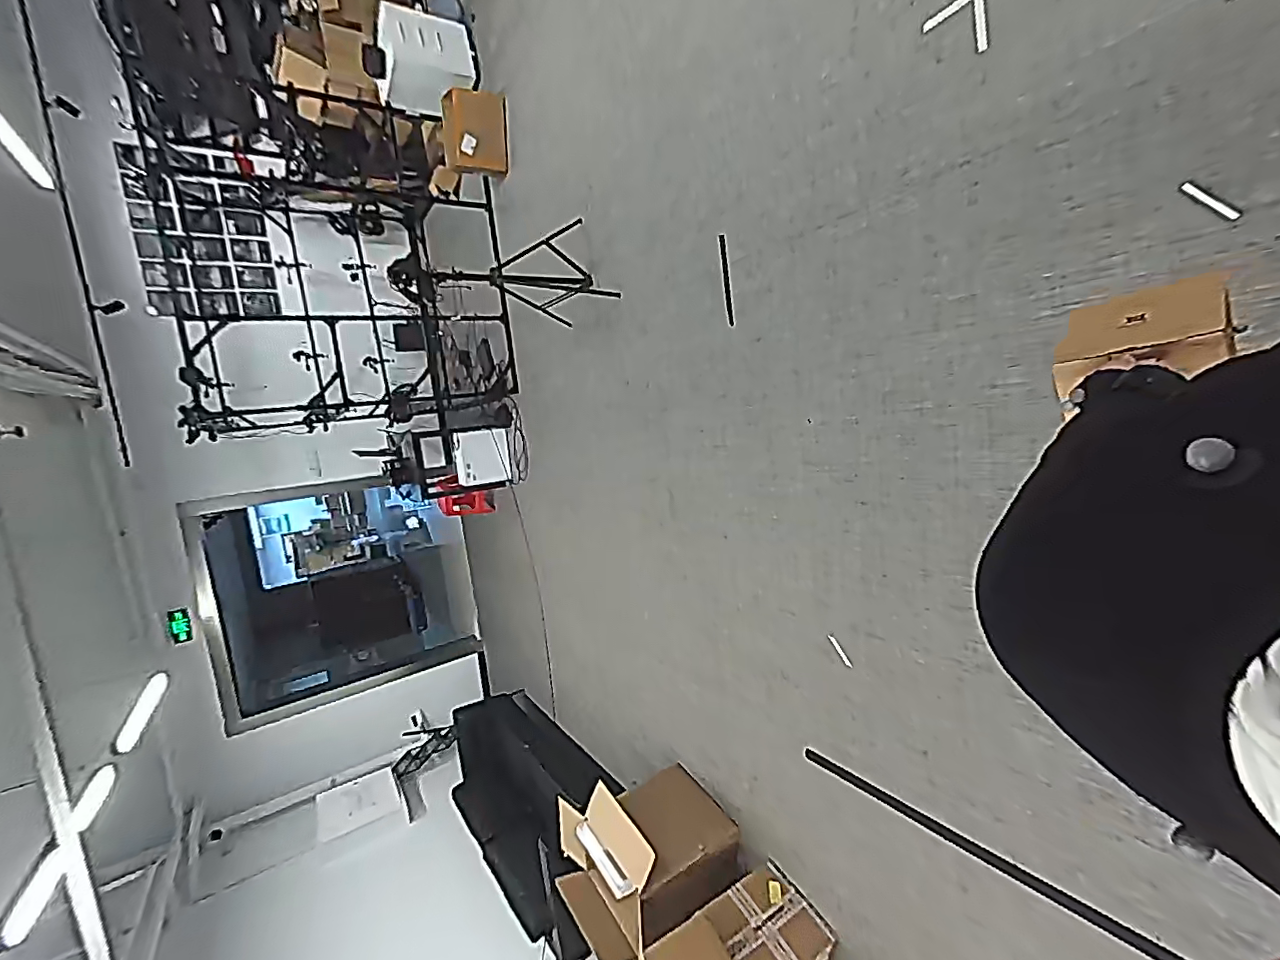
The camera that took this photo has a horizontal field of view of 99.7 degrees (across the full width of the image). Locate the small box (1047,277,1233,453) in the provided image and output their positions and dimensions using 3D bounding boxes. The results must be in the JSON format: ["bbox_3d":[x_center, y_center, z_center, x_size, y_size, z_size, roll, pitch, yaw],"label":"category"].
[{"bbox_3d":[0.702,-0.148,0.758,0.168,0.179,0.176,-6,121,49],"label":"small box"}]
